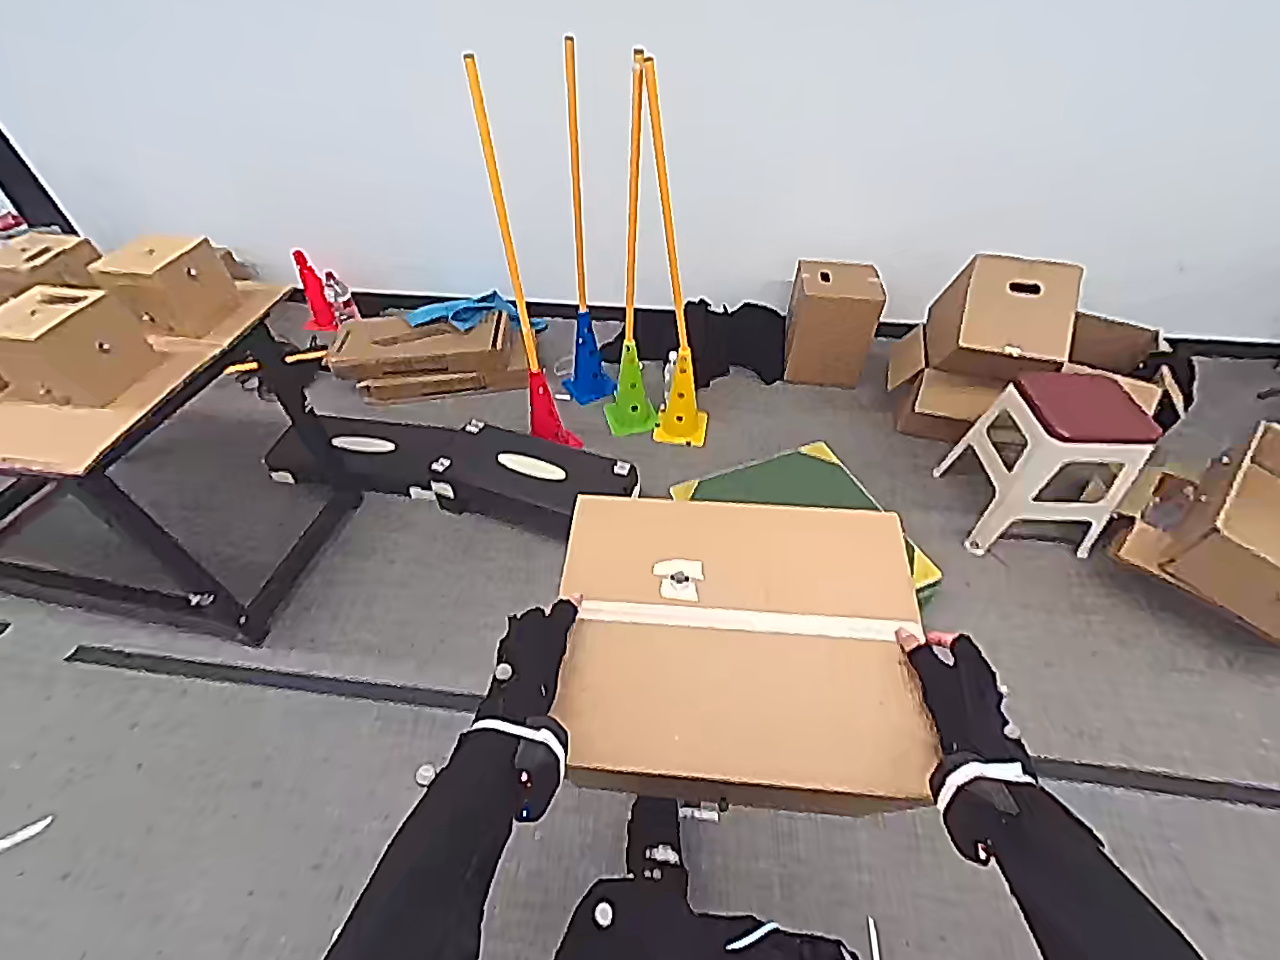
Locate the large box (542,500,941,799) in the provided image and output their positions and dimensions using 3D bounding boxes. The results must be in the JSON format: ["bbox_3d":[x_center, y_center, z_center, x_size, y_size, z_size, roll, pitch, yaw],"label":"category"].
[{"bbox_3d":[0.116,0.242,0.743,0.408,0.320,0.320,3,55,5],"label":"large box"}]
